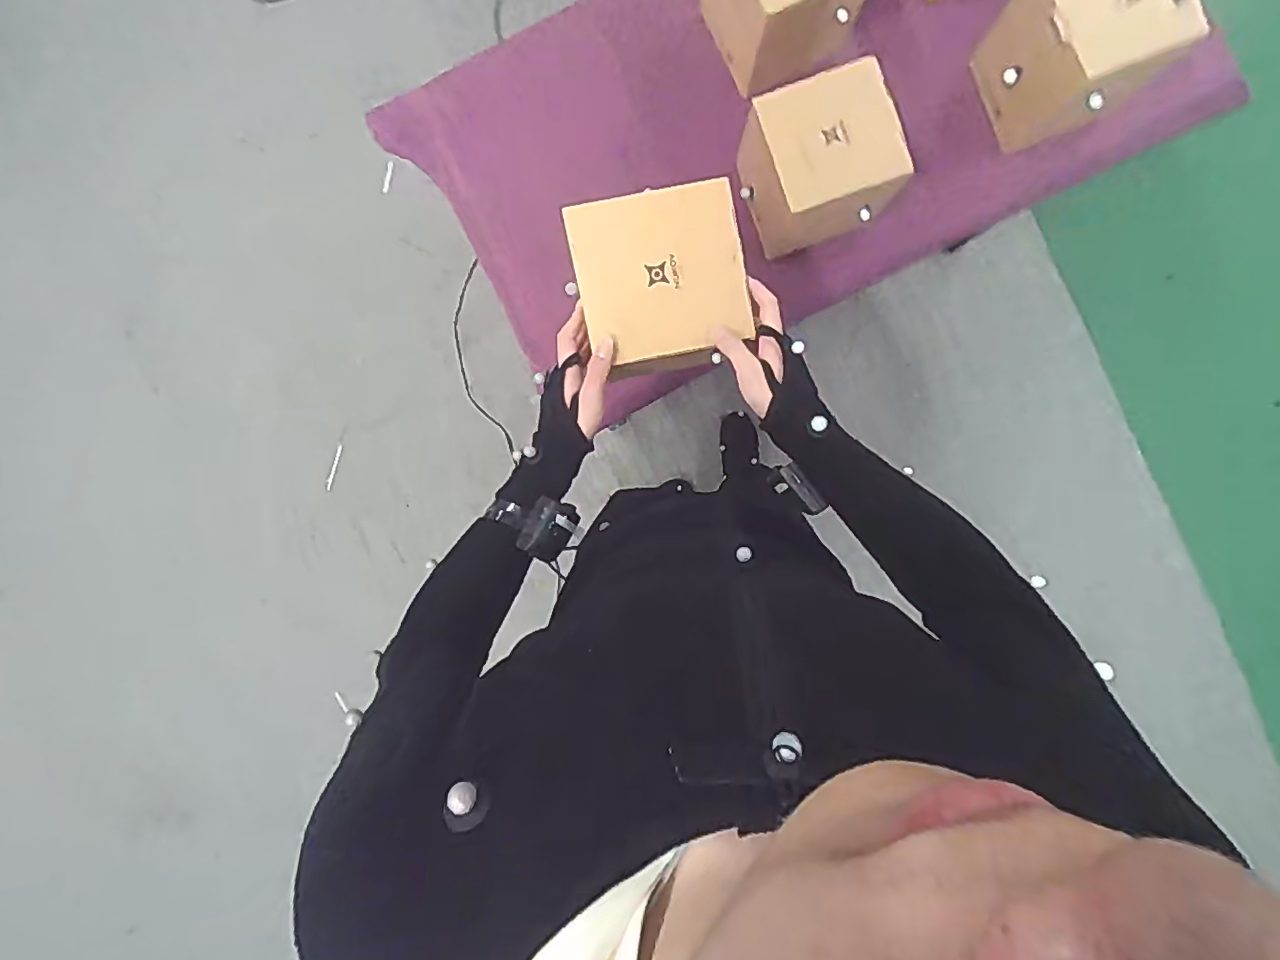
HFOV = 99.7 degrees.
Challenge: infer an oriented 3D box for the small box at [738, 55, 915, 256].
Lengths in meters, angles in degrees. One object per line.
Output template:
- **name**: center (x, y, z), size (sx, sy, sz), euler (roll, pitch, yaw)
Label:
- **small box**: center (0.261, -0.462, 0.797), size (0.179, 0.176, 0.168), euler (-19, 90, 2)

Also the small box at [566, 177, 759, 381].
- **small box**: center (0.021, -0.216, 0.626), size (0.179, 0.176, 0.168), euler (-11, 95, -3)

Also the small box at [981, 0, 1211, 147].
- **small box**: center (0.635, -0.629, 0.785), size (0.179, 0.176, 0.168), euler (-22, 91, 2)
